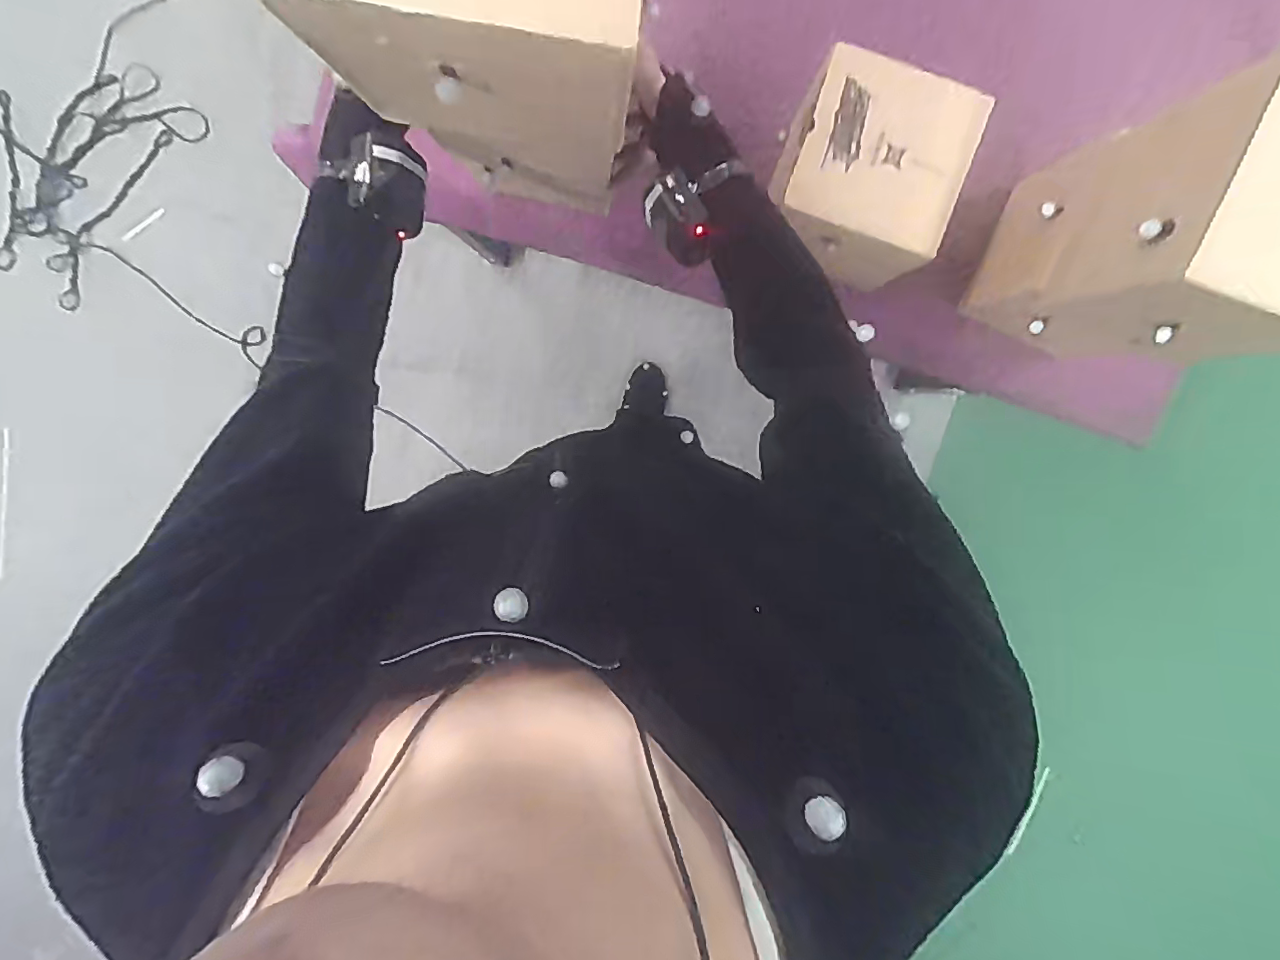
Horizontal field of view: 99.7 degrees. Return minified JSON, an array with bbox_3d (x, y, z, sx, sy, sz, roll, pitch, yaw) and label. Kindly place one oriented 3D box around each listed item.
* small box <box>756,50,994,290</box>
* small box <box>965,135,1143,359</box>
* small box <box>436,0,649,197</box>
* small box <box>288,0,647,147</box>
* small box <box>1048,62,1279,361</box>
[{"bbox_3d":[0.253,-0.339,0.633,0.179,0.176,0.168,18,98,-3],"label":"small box"},{"bbox_3d":[0.532,-0.256,0.645,0.168,0.176,0.179,23,98,-2],"label":"small box"},{"bbox_3d":[-0.085,-0.365,0.453,0.168,0.176,0.179,11,106,-8],"label":"small box"},{"bbox_3d":[-0.081,-0.307,0.299,0.179,0.176,0.168,4,106,-6],"label":"small box"},{"bbox_3d":[0.521,-0.215,0.485,0.168,0.176,0.179,19,99,-2],"label":"small box"}]
